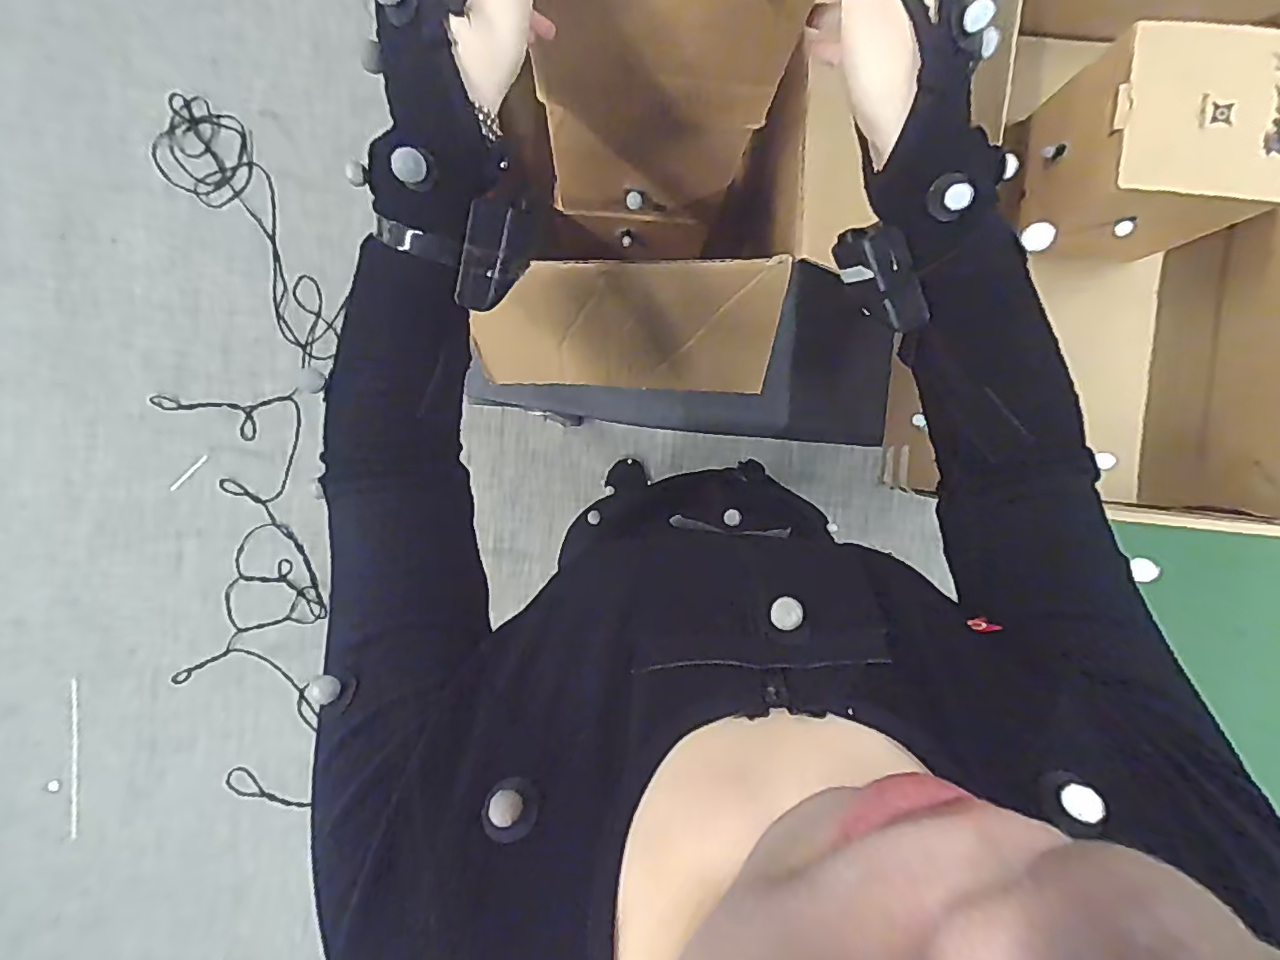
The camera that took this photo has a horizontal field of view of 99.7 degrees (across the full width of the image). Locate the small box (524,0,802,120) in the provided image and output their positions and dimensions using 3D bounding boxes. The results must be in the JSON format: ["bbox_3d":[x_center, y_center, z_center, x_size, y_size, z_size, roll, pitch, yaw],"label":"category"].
[{"bbox_3d":[0.018,-0.362,0.337,0.179,0.176,0.168,5,92,-5],"label":"small box"}]
